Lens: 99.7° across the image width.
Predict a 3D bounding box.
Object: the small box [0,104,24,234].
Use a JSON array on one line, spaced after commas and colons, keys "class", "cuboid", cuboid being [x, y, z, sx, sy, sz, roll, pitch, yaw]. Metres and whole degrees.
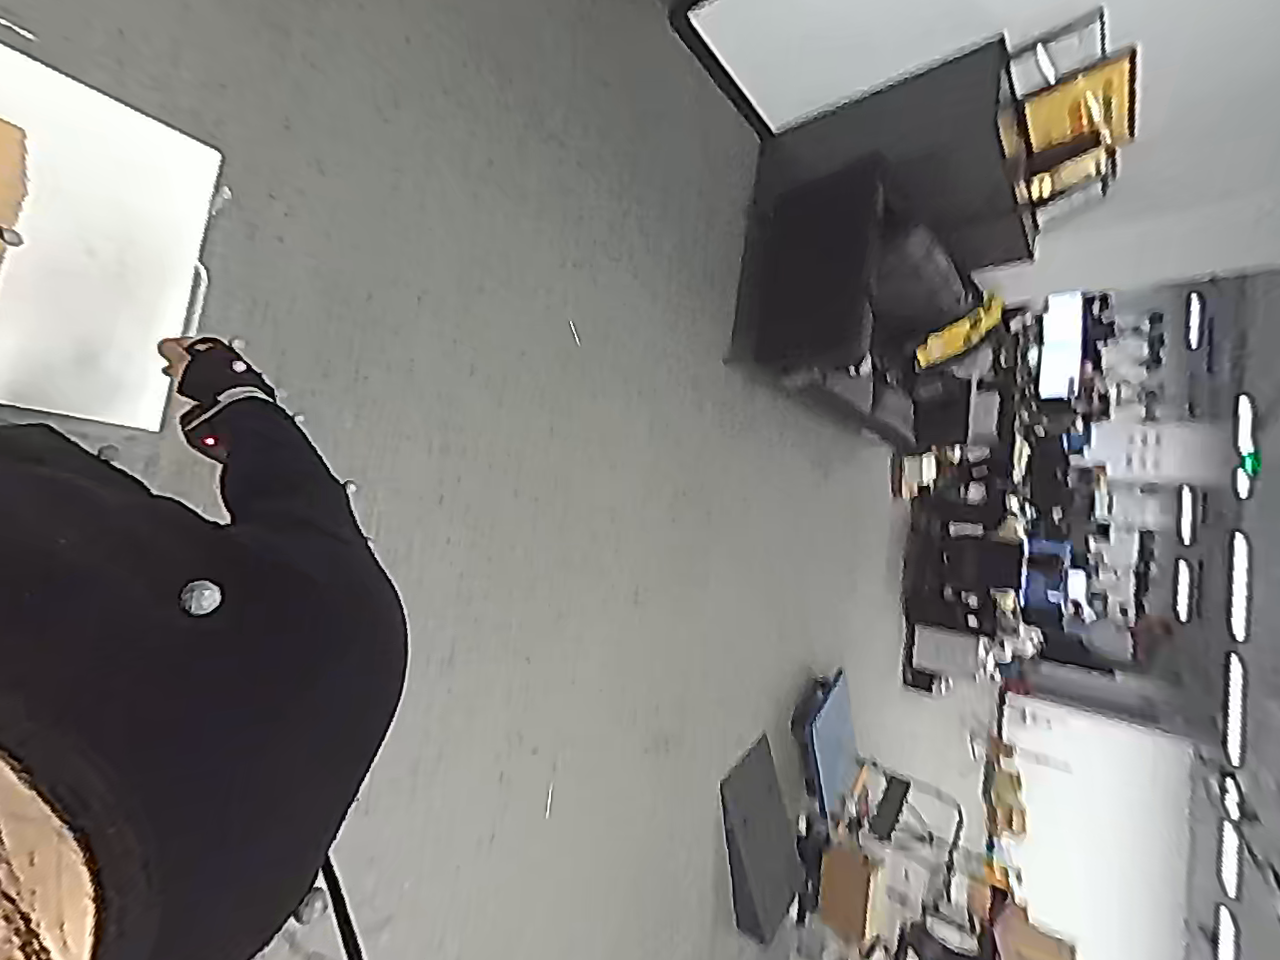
[{"class": "small box", "cuboid": [-0.702, -0.278, 0.482, 0.168, 0.176, 0.179, 19, 78, -48]}]
